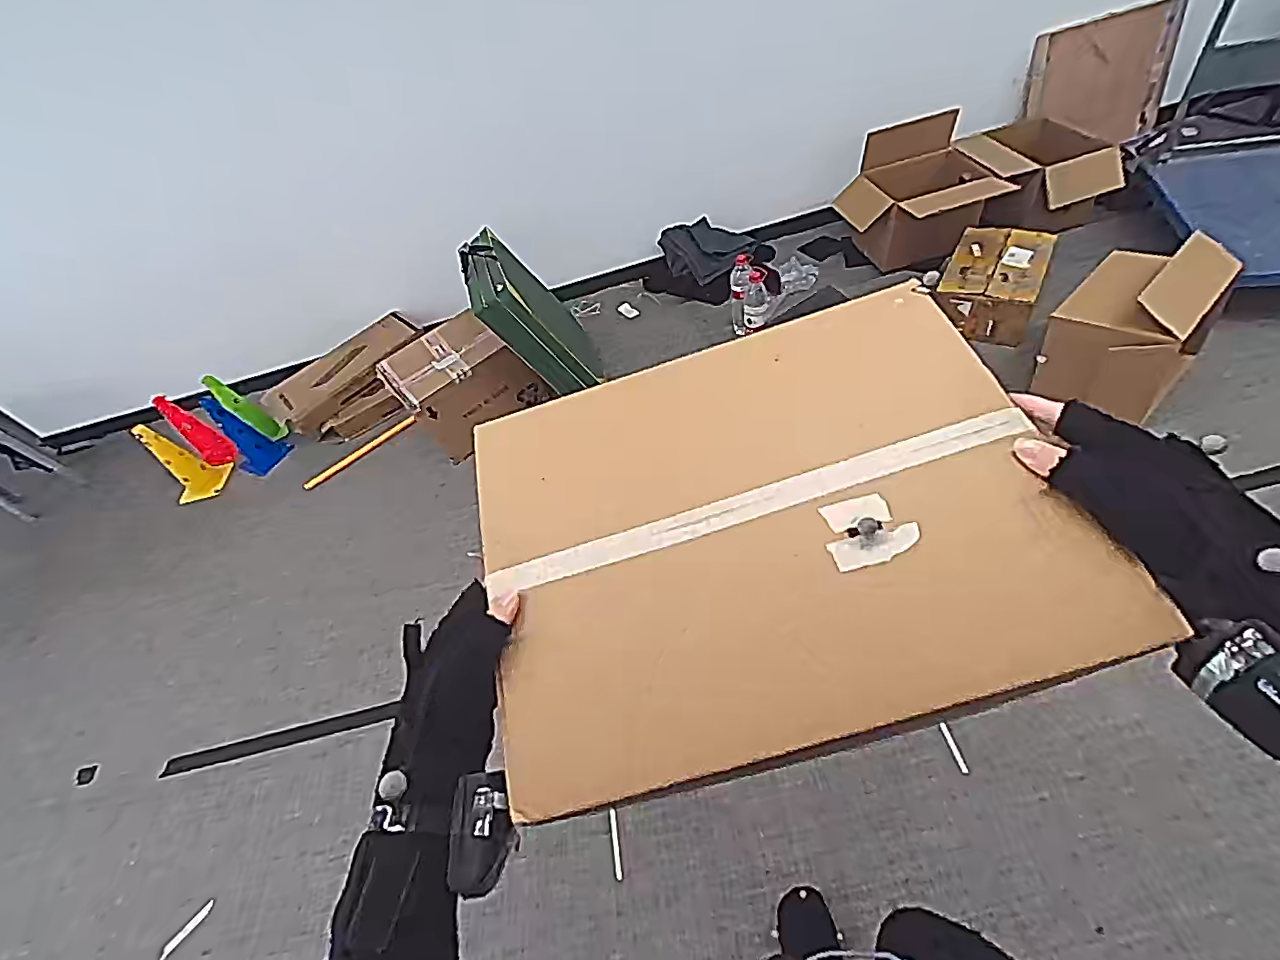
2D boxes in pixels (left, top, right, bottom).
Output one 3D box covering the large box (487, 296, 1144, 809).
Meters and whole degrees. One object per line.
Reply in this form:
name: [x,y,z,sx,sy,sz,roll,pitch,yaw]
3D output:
large box: [0.111,0.094,0.537,0.408,0.320,0.320,-18,59,3]
